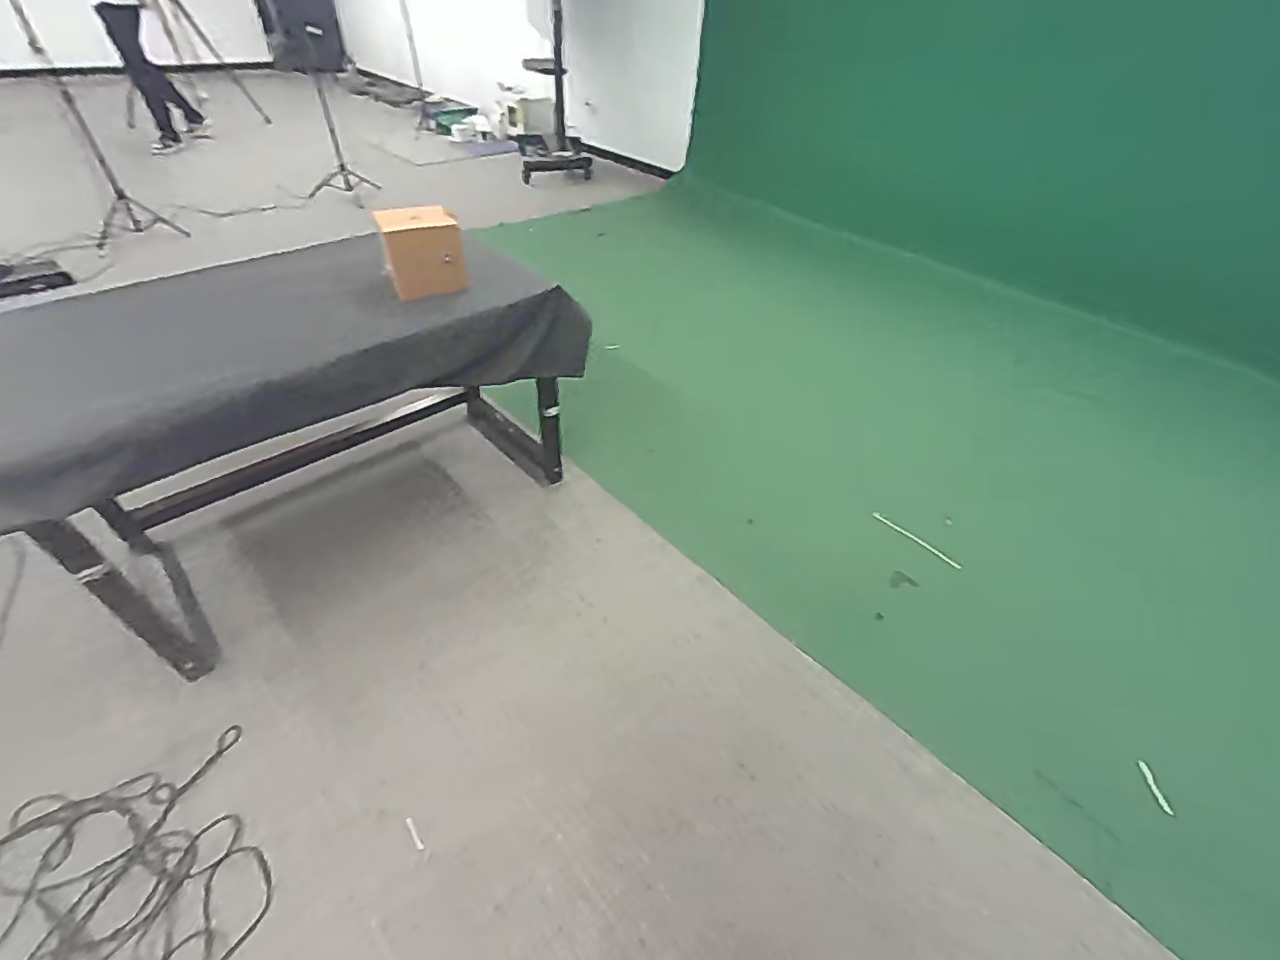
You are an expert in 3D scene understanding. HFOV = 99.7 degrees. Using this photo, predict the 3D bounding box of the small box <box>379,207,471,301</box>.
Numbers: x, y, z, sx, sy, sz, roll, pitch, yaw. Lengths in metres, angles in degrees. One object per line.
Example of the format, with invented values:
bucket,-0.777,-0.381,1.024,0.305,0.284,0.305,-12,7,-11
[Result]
small box,-0.543,-0.579,1.385,0.179,0.176,0.168,-20,47,-22
